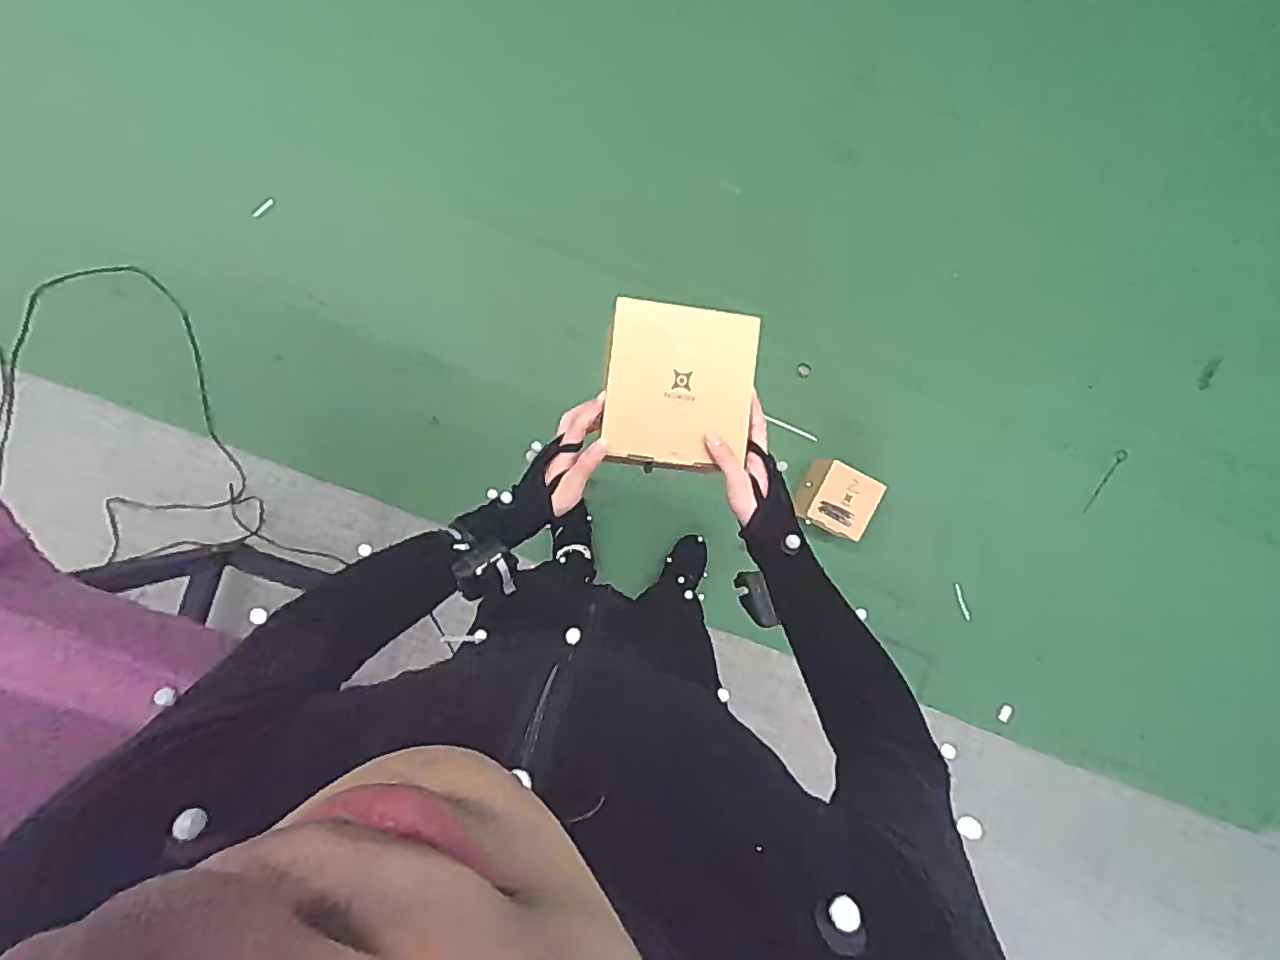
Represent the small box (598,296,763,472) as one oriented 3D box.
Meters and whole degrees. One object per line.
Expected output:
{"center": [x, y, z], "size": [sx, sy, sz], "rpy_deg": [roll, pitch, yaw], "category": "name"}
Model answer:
{"center": [0.039, -0.105, 0.670], "size": [0.168, 0.176, 0.179], "rpy_deg": [6, 91, -6], "category": "small box"}
